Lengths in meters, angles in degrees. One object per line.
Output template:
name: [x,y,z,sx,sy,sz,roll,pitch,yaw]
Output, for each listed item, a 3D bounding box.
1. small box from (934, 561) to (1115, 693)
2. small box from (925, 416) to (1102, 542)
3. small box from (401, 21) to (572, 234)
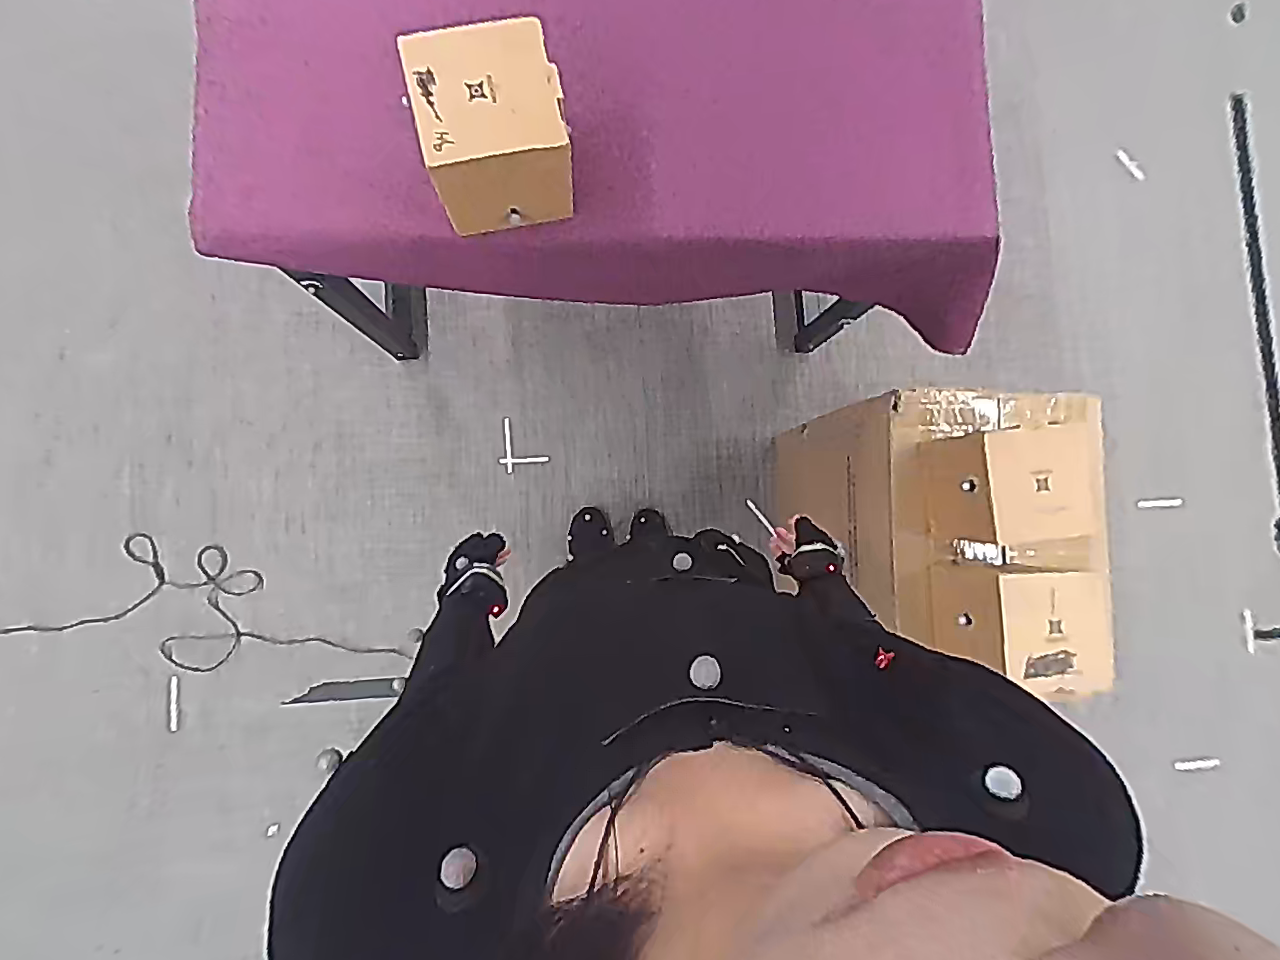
small box: [0.601,0.225,0.866,0.168,0.176,0.179,-1,85,-5]
small box: [0.592,0.002,0.881,0.168,0.176,0.179,-6,88,-4]
small box: [-0.194,-0.461,0.730,0.179,0.176,0.168,-13,87,-7]
